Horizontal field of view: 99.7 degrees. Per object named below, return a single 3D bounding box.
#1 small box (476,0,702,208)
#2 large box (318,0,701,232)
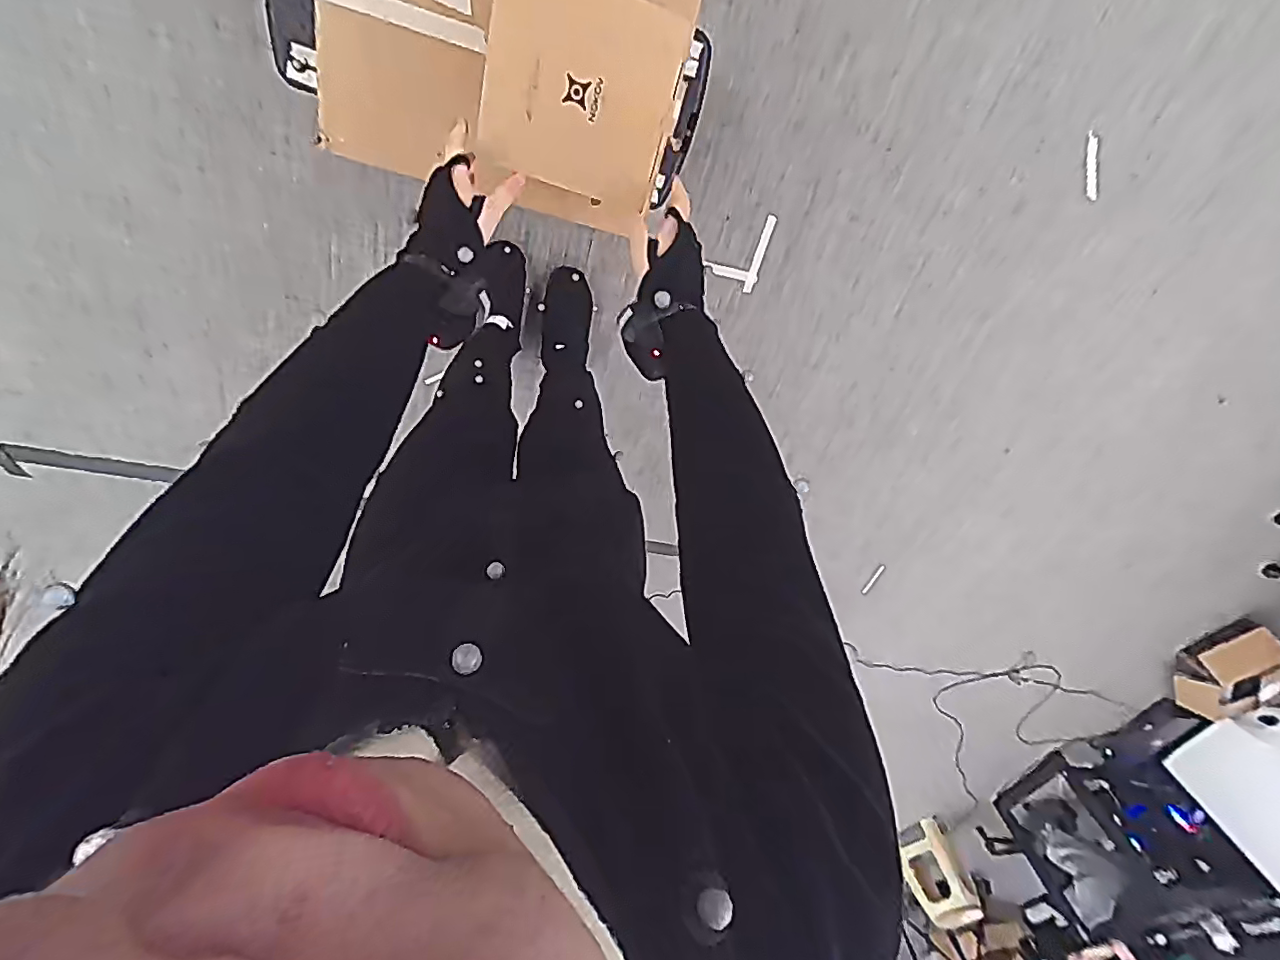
[{"bbox_3d":[-0.059,-0.410,0.560,0.179,0.176,0.168,11,123,-16],"label":"small box"},{"bbox_3d":[-0.162,-0.574,0.731,0.408,0.320,0.320,10,122,-14],"label":"large box"}]
